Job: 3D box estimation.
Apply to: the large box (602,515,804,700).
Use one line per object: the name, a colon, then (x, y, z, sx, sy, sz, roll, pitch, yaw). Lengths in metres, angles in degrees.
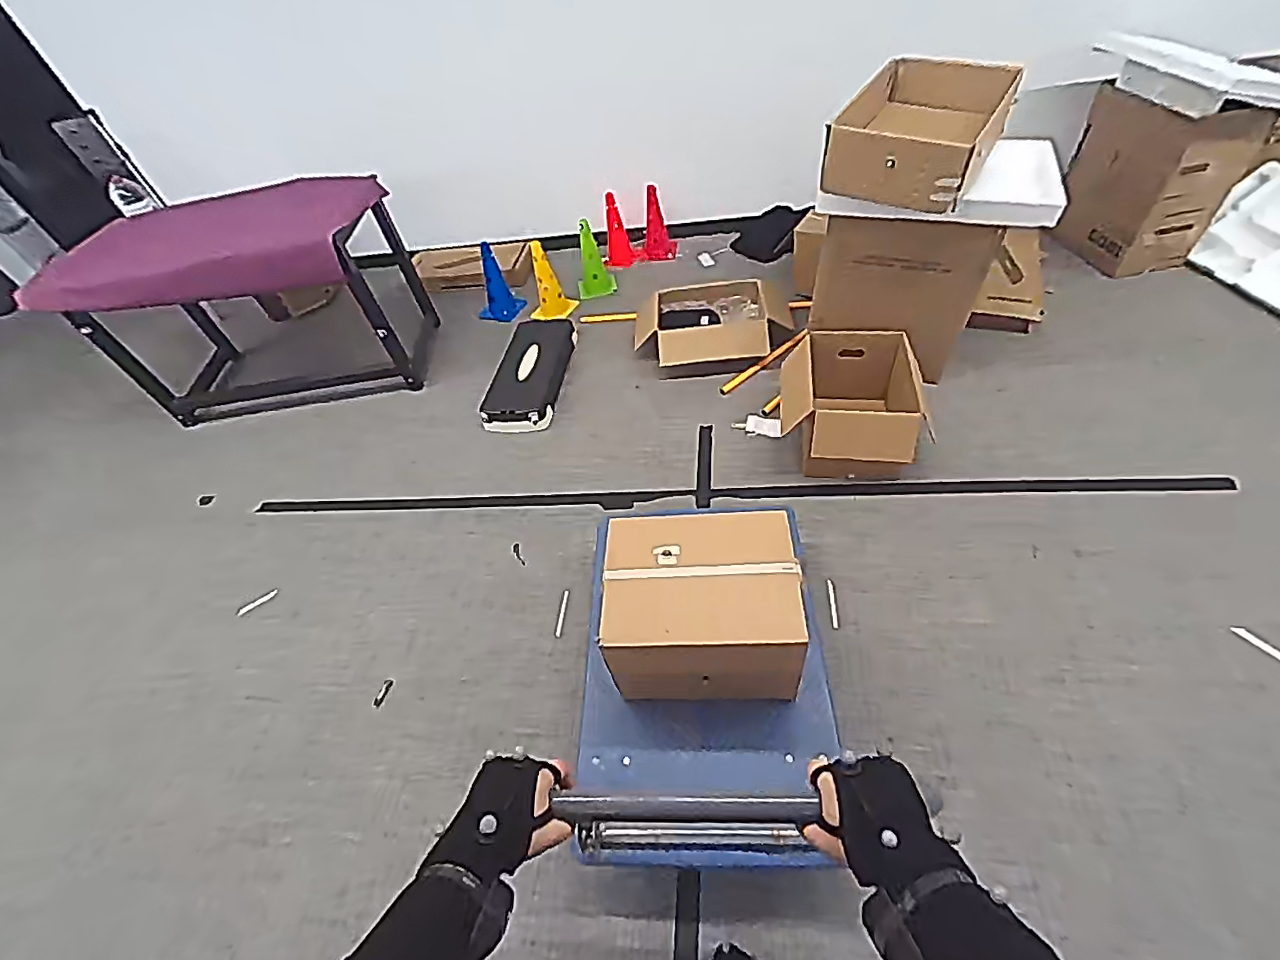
large box: (0.145, 0.307, 1.266, 0.408, 0.320, 0.320, -4, 48, 8)
